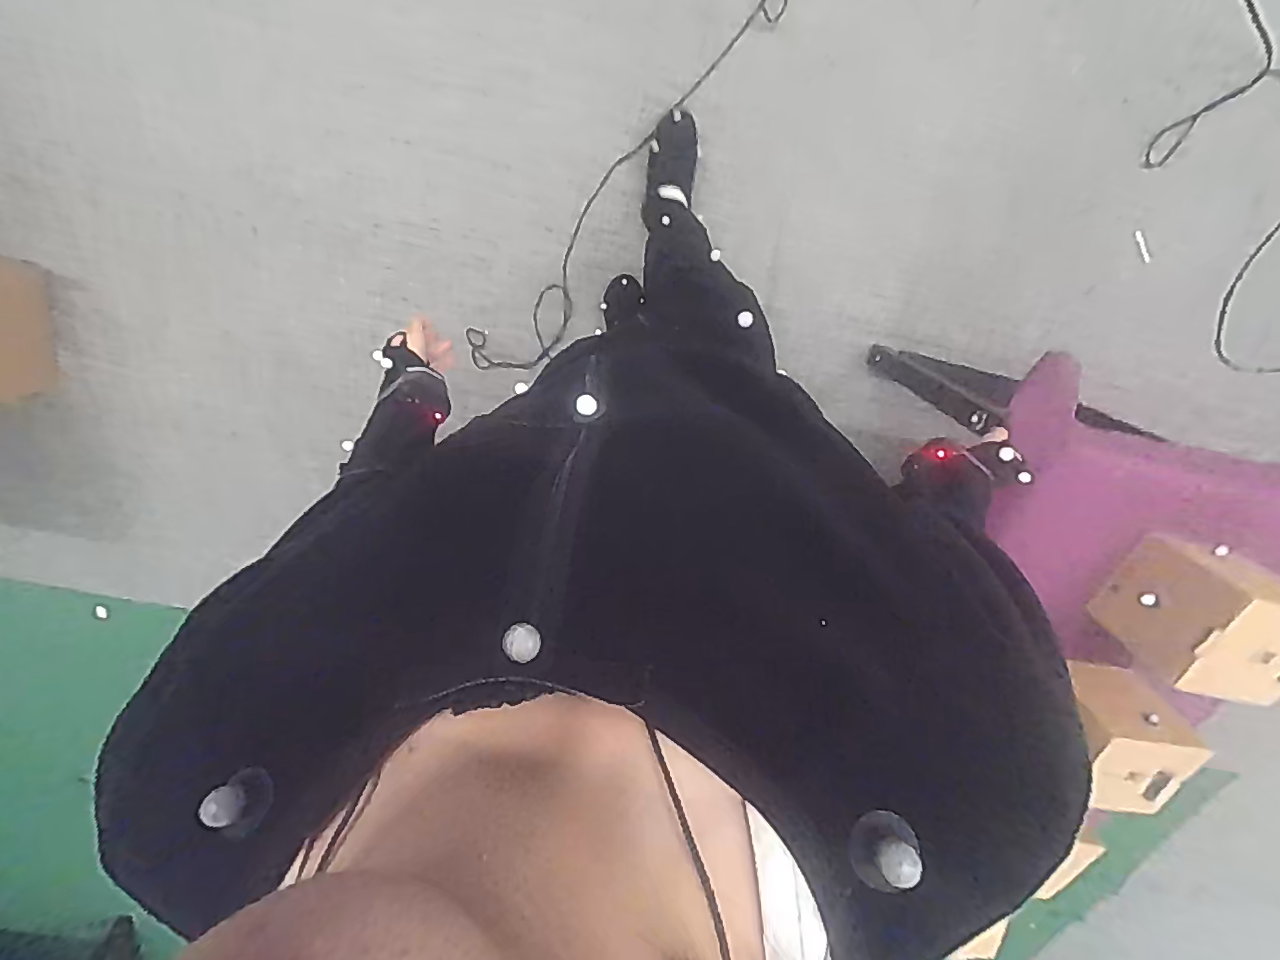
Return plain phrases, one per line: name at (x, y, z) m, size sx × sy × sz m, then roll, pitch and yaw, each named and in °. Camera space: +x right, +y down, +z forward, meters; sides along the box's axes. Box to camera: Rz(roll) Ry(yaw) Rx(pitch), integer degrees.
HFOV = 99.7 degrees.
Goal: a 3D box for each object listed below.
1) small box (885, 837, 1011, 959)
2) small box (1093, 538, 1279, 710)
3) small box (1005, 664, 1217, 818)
small box at (0.638, 0.886, 1.146) m, size 0.168 × 0.176 × 0.179 m, roll -6°, pitch 116°, yaw 2°
small box at (0.853, 0.207, 0.812) m, size 0.179 × 0.176 × 0.168 m, roll 14°, pitch 116°, yaw -7°
small box at (0.786, 0.441, 0.927) m, size 0.179 × 0.176 × 0.168 m, roll 9°, pitch 116°, yaw -4°
